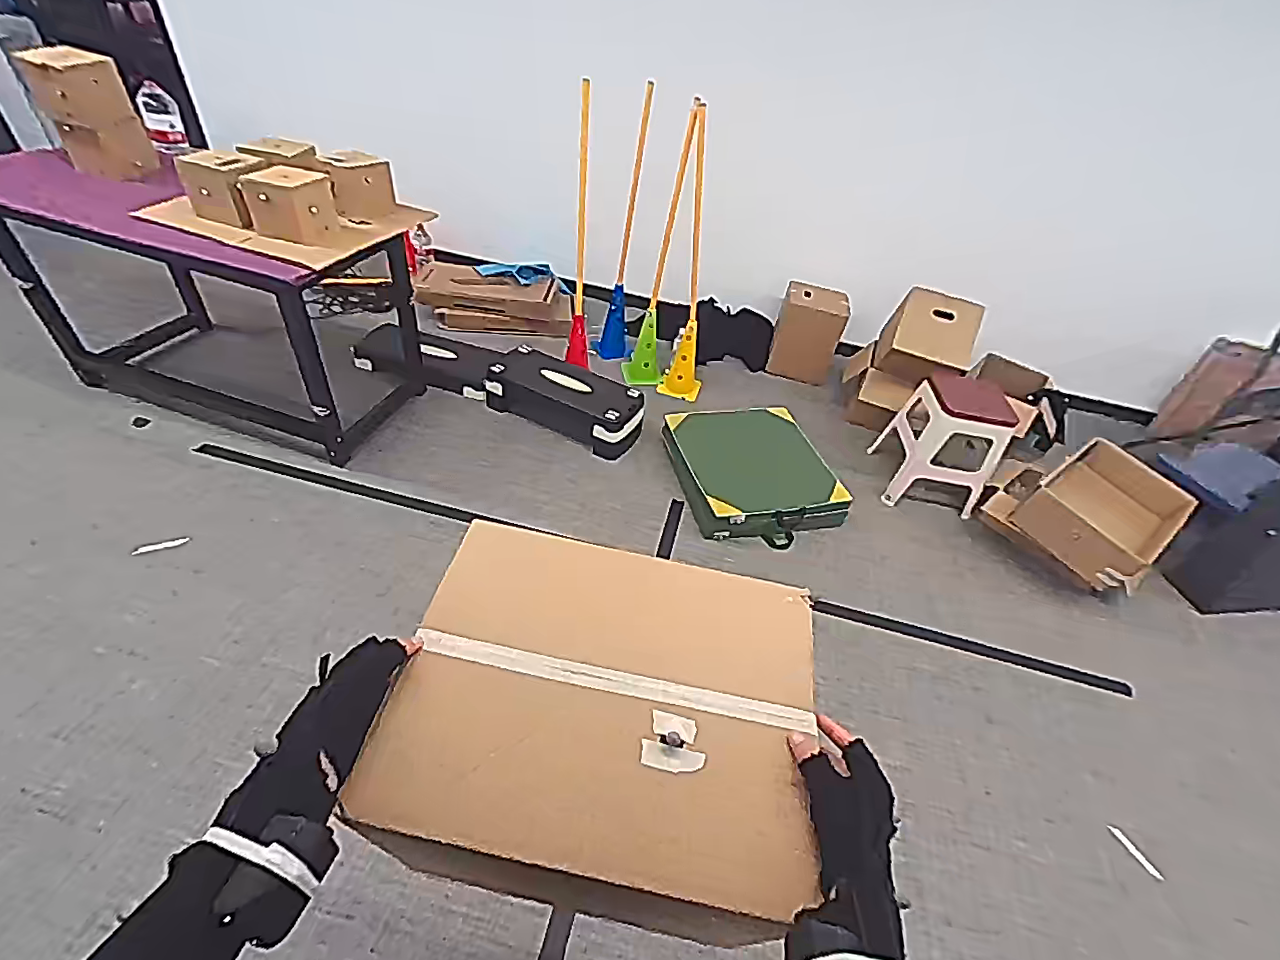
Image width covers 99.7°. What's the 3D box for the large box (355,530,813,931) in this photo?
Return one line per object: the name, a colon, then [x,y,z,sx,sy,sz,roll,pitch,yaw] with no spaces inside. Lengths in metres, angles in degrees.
large box: [-0.043,0.306,0.660,0.408,0.320,0.320,12,48,2]
